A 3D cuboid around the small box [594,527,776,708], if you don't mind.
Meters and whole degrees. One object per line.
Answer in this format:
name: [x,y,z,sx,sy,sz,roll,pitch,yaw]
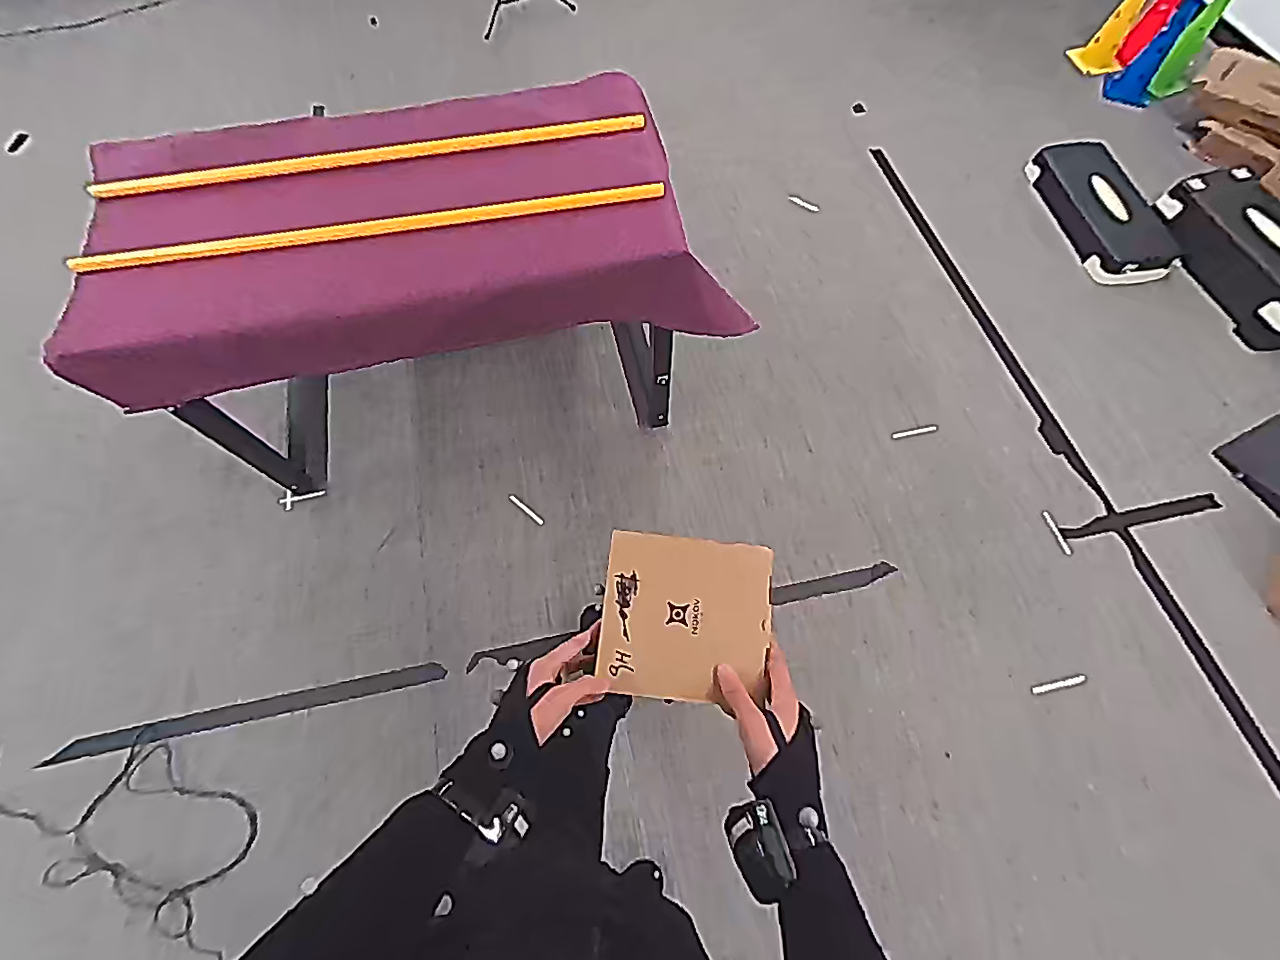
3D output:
small box: [0.047,0.159,0.635,0.179,0.176,0.168,7,75,1]
